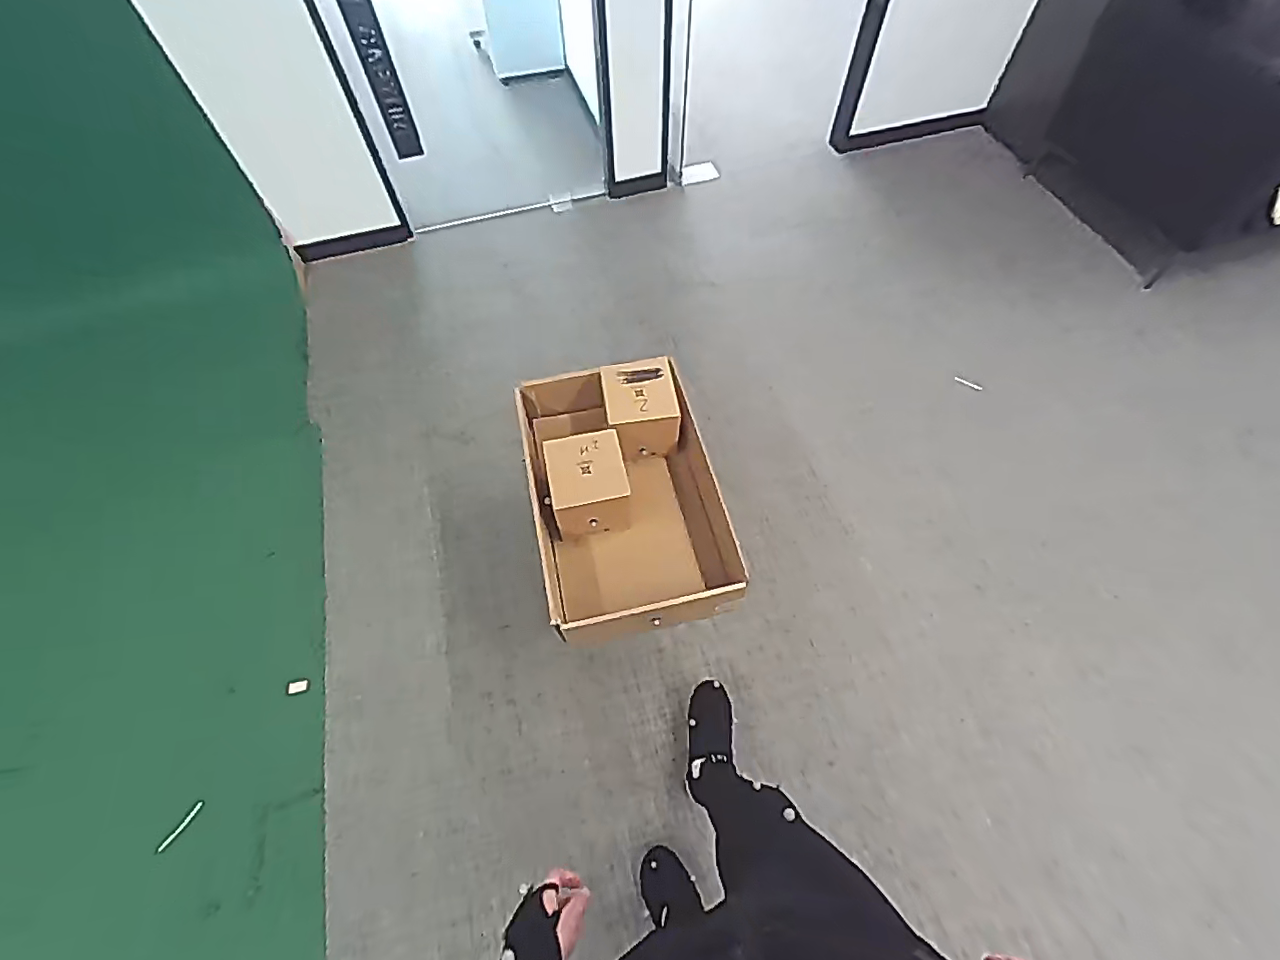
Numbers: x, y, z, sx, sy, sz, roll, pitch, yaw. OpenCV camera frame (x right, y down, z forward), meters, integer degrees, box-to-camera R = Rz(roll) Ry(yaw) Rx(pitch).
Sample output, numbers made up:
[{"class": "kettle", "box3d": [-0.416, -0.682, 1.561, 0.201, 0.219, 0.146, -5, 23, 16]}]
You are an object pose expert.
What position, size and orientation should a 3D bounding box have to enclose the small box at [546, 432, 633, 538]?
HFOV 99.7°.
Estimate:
[{"class": "small box", "box3d": [-0.109, 0.019, 1.211, 0.168, 0.176, 0.179, -10, 61, -6]}]
